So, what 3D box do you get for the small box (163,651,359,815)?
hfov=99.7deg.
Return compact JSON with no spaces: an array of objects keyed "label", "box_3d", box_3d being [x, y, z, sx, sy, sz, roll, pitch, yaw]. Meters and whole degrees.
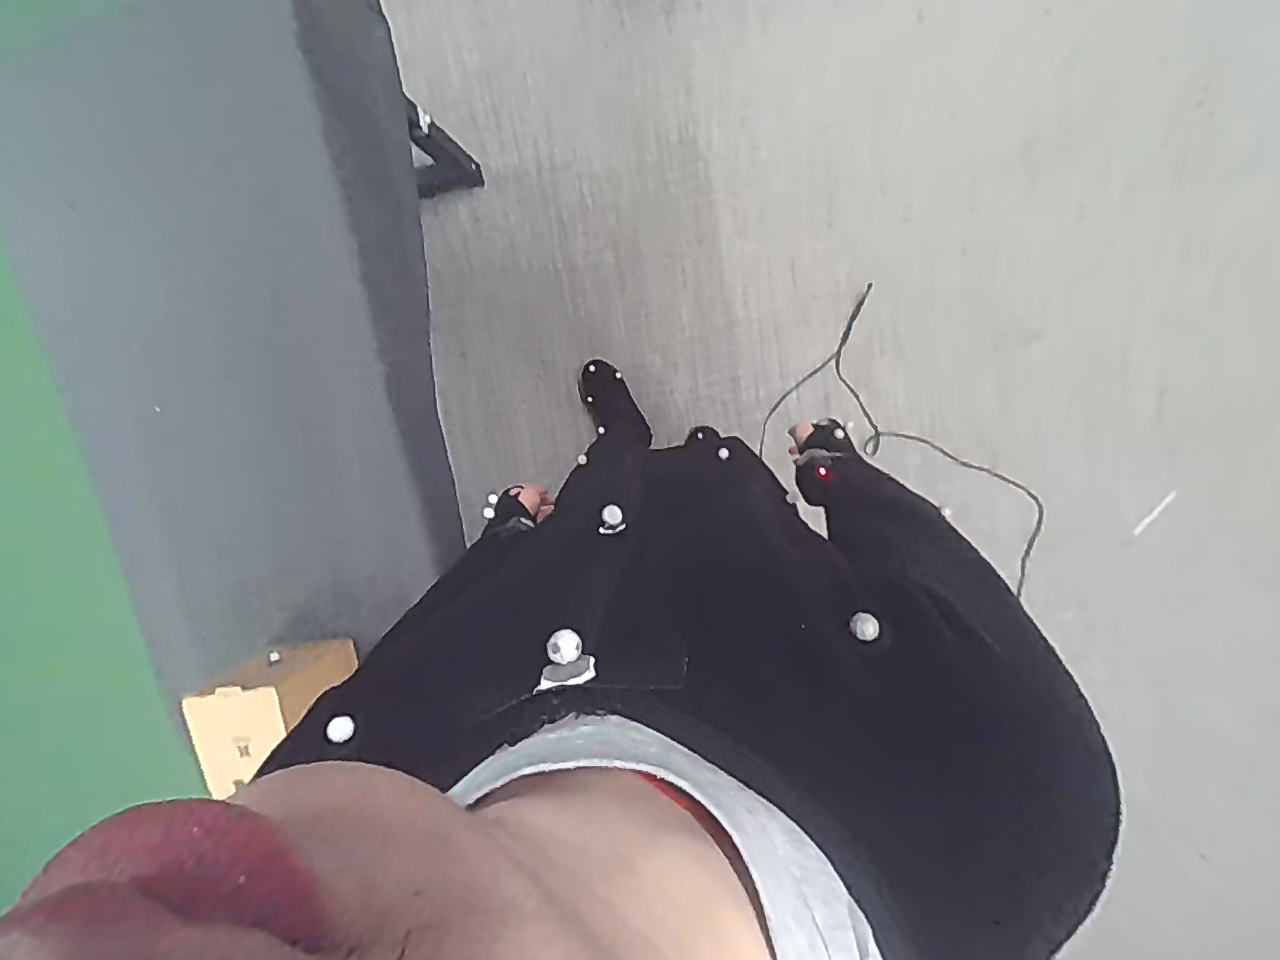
[{"label":"small box","box_3d":[-0.580,0.384,0.850,0.168,0.176,0.179,-9,96,8]}]
